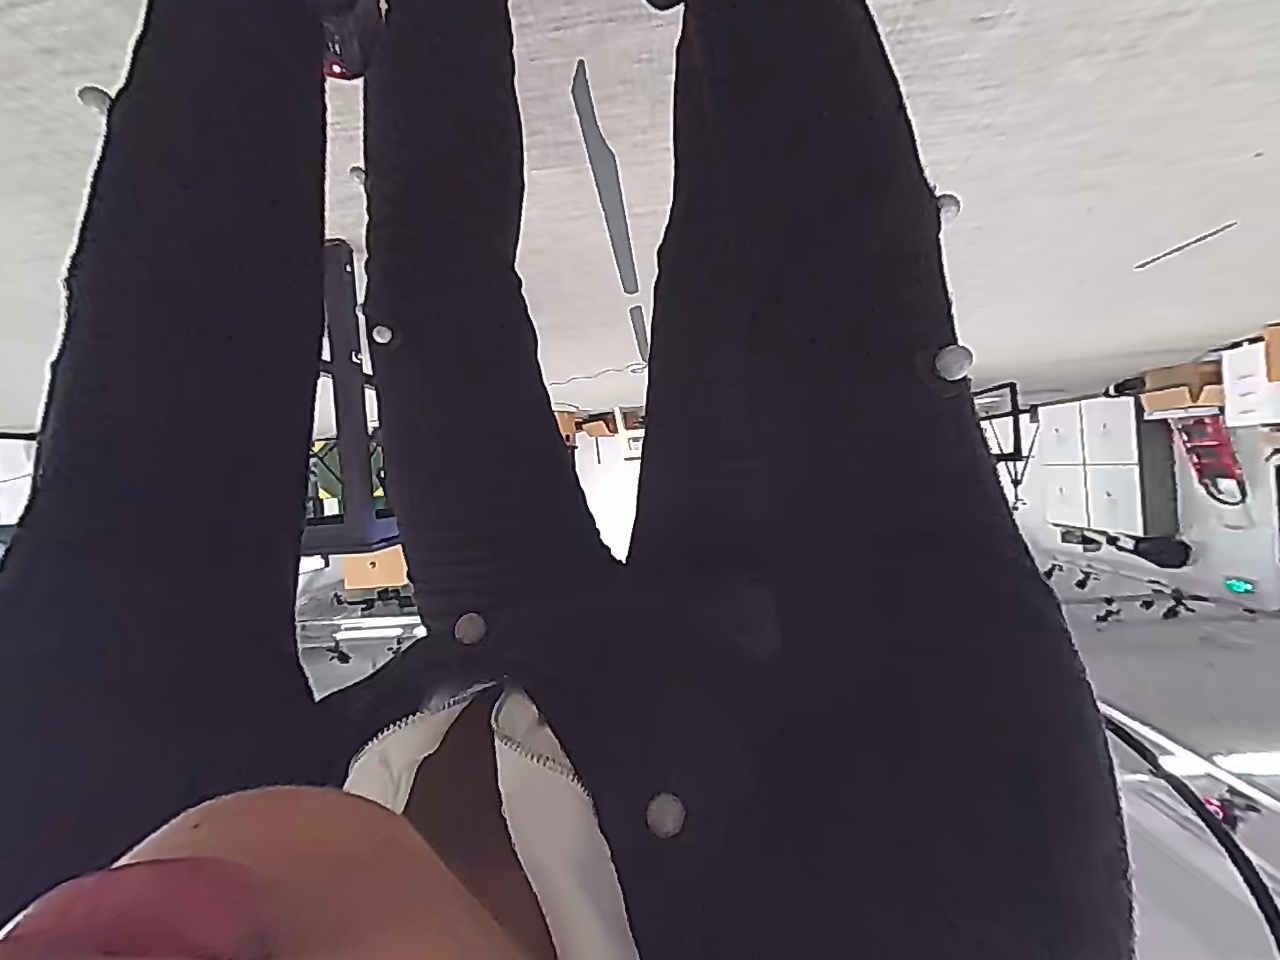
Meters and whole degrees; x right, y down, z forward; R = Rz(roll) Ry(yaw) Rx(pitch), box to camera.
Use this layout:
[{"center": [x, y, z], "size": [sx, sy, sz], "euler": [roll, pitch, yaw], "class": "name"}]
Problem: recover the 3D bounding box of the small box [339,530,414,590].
[{"center": [-0.860, 0.254, 1.766], "size": [0.179, 0.176, 0.168], "euler": [-5, -179, -1], "class": "small box"}]
